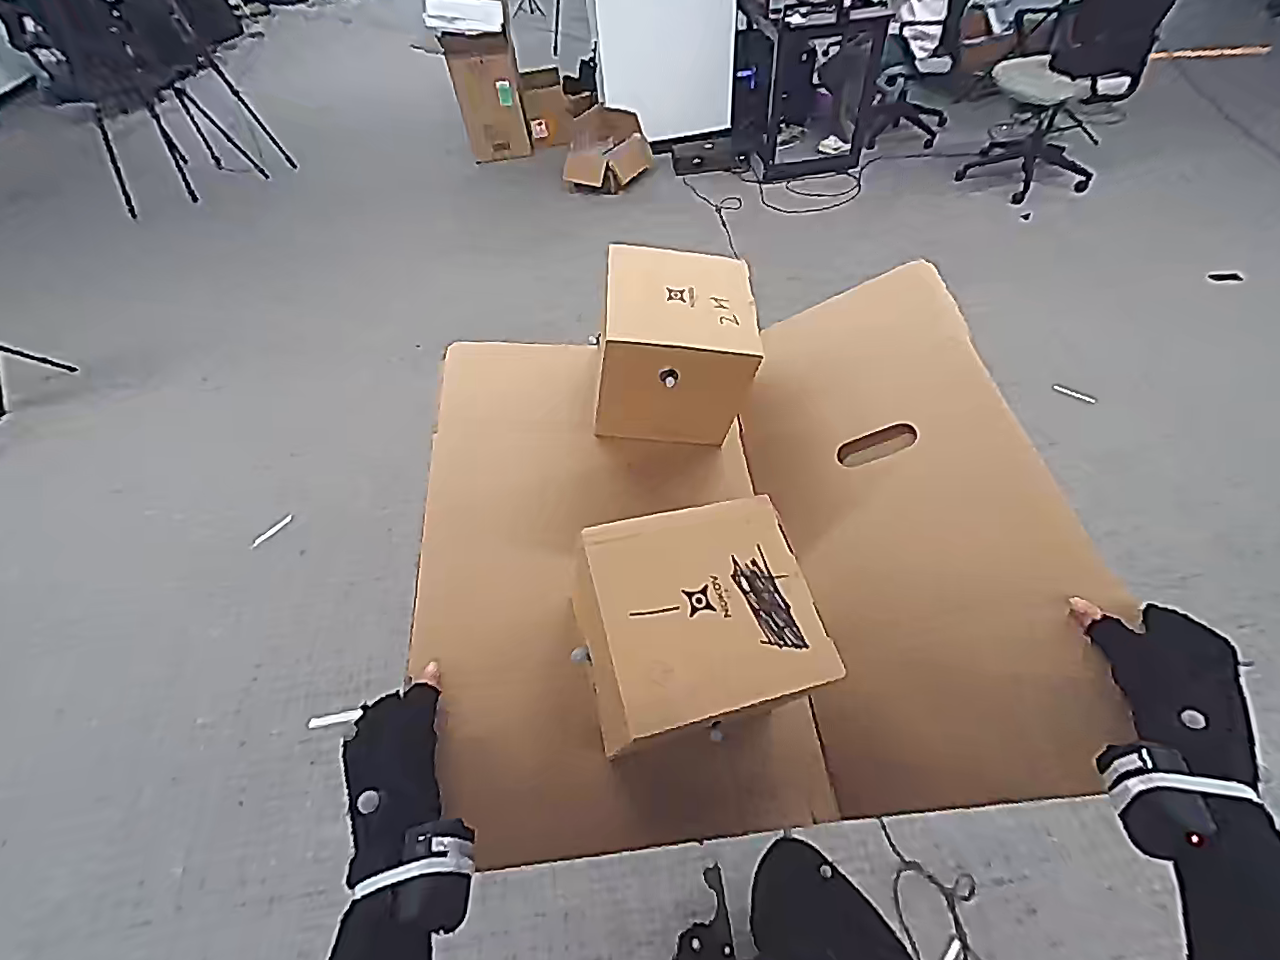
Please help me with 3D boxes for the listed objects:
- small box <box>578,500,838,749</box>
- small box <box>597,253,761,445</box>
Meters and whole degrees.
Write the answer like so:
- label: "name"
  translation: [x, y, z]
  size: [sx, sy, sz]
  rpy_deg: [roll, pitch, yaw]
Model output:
- label: "small box"
  translation: [0.044, 0.140, 0.510]
  size: [0.179, 0.176, 0.168]
  rpy_deg: [-10, 61, -14]
- label: "small box"
  translation: [0.038, -0.160, 0.696]
  size: [0.179, 0.176, 0.168]
  rpy_deg: [5, 58, -7]
